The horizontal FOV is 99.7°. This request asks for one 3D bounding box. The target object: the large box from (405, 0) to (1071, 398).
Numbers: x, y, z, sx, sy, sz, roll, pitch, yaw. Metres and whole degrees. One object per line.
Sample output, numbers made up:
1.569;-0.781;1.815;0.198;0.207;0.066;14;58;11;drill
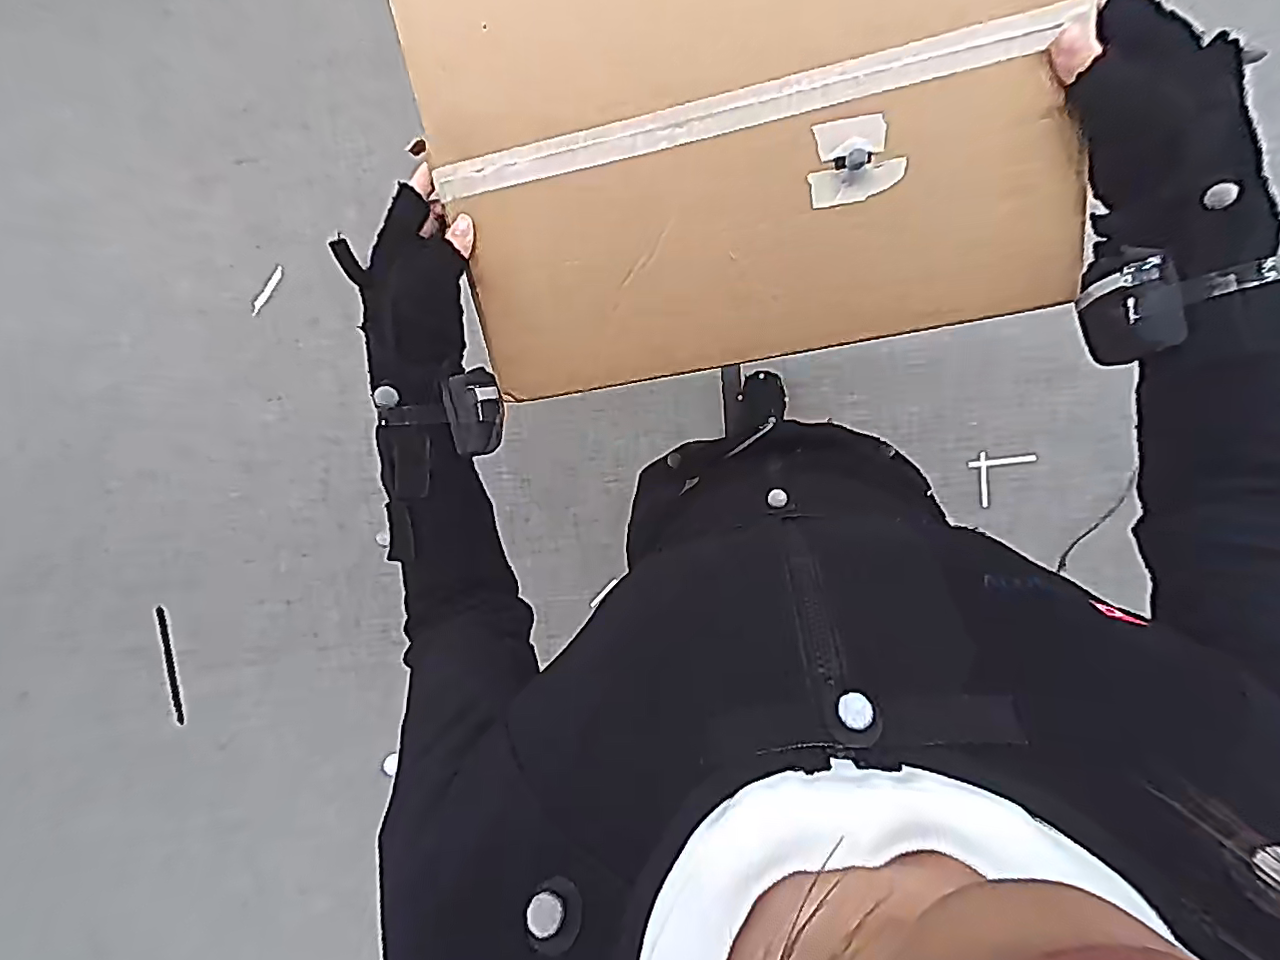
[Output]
0.076;-0.287;0.494;0.408;0.320;0.320;-10;108;8;large box
